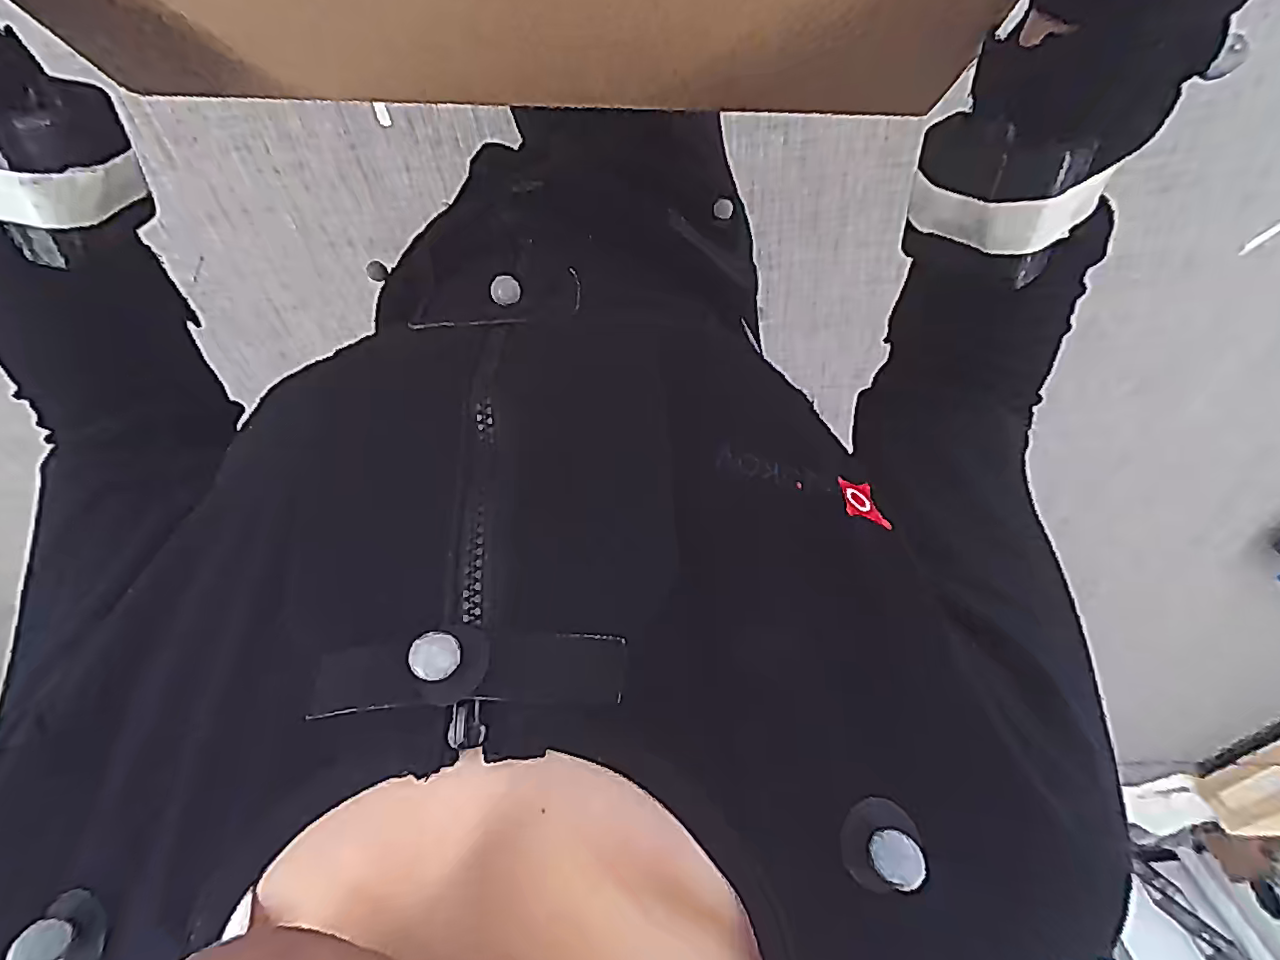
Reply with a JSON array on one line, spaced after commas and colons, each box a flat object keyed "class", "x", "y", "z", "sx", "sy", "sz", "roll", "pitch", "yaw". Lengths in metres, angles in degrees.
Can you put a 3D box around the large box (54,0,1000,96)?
[{"class": "large box", "x": -0.048, "y": -0.353, "z": 0.129, "sx": 0.408, "sy": 0.320, "sz": 0.320, "roll": 1, "pitch": 90, "yaw": 0}]
